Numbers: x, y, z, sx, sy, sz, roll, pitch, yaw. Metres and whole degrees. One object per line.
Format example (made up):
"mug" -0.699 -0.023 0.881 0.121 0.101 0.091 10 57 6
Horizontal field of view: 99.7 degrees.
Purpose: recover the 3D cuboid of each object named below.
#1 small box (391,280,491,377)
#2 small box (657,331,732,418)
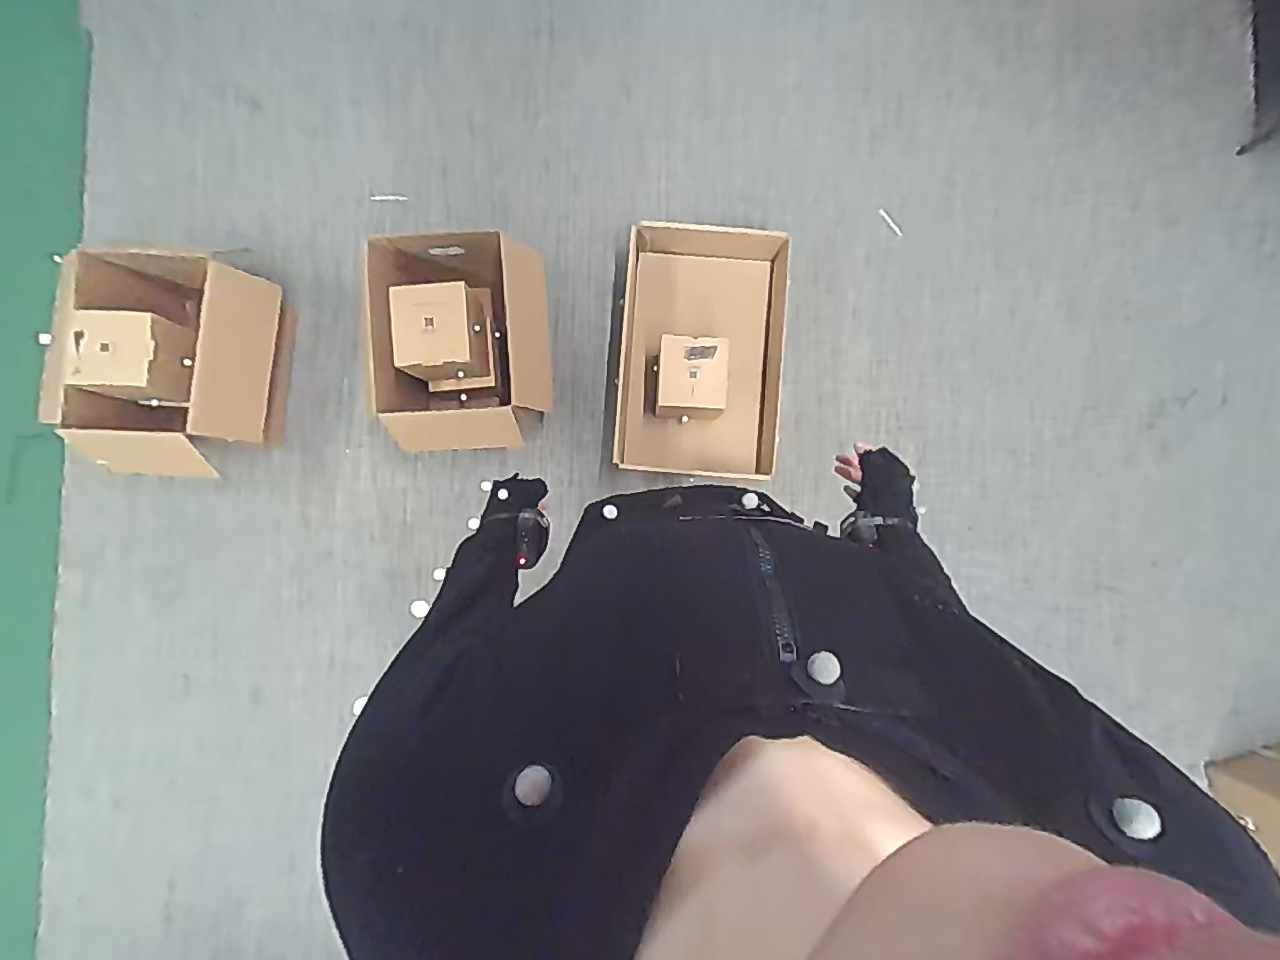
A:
"small box" -0.446 -0.337 1.235 0.168 0.176 0.179 -4 89 0
"small box" 0.132 -0.260 1.361 0.168 0.176 0.179 3 87 0
